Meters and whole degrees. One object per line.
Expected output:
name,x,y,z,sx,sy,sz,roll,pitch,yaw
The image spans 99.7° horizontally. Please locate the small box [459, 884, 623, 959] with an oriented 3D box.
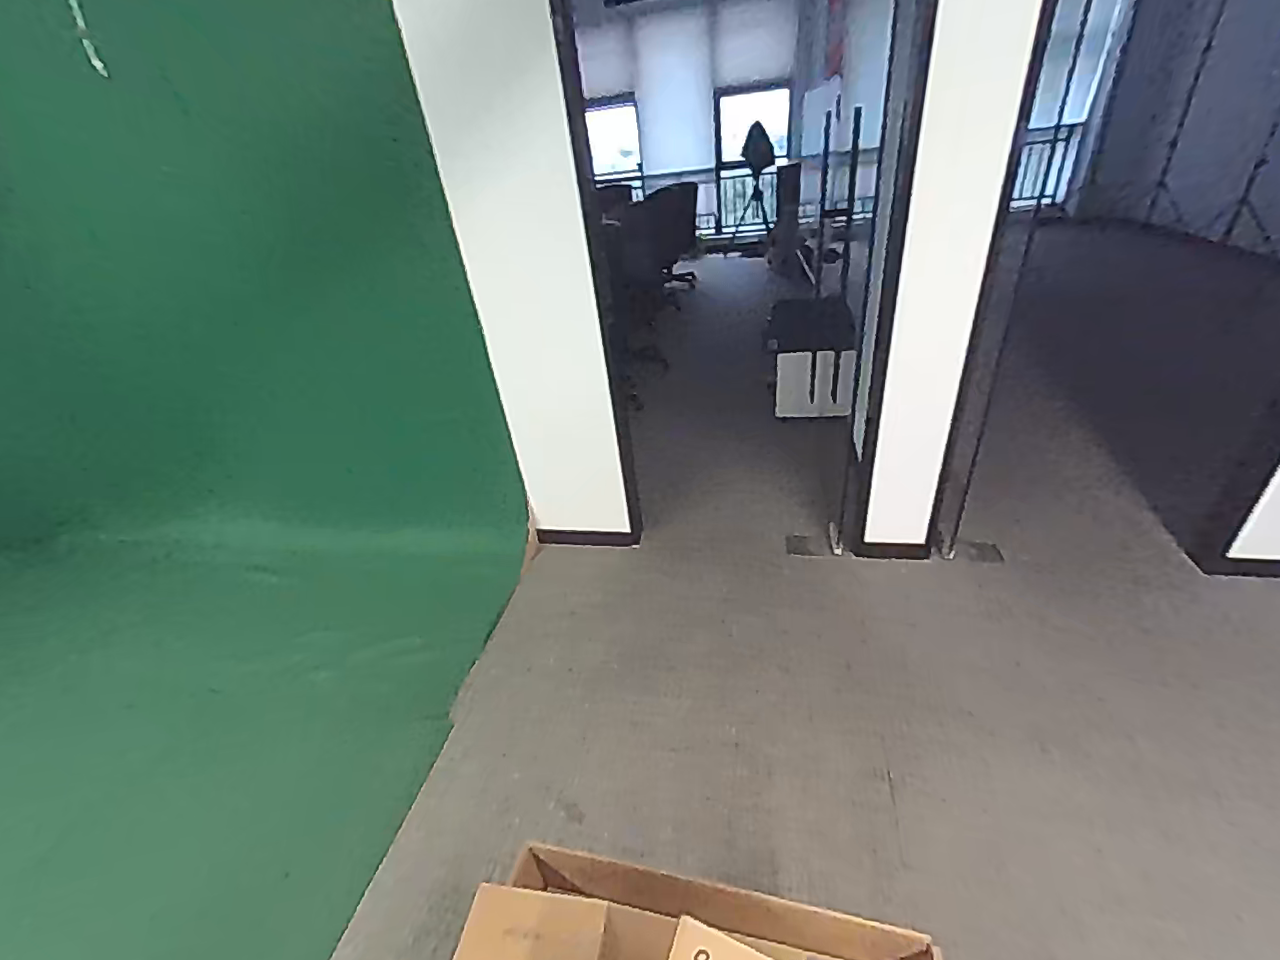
small box,-0.116,0.612,0.622,0.168,0.176,0.179,0,32,12
